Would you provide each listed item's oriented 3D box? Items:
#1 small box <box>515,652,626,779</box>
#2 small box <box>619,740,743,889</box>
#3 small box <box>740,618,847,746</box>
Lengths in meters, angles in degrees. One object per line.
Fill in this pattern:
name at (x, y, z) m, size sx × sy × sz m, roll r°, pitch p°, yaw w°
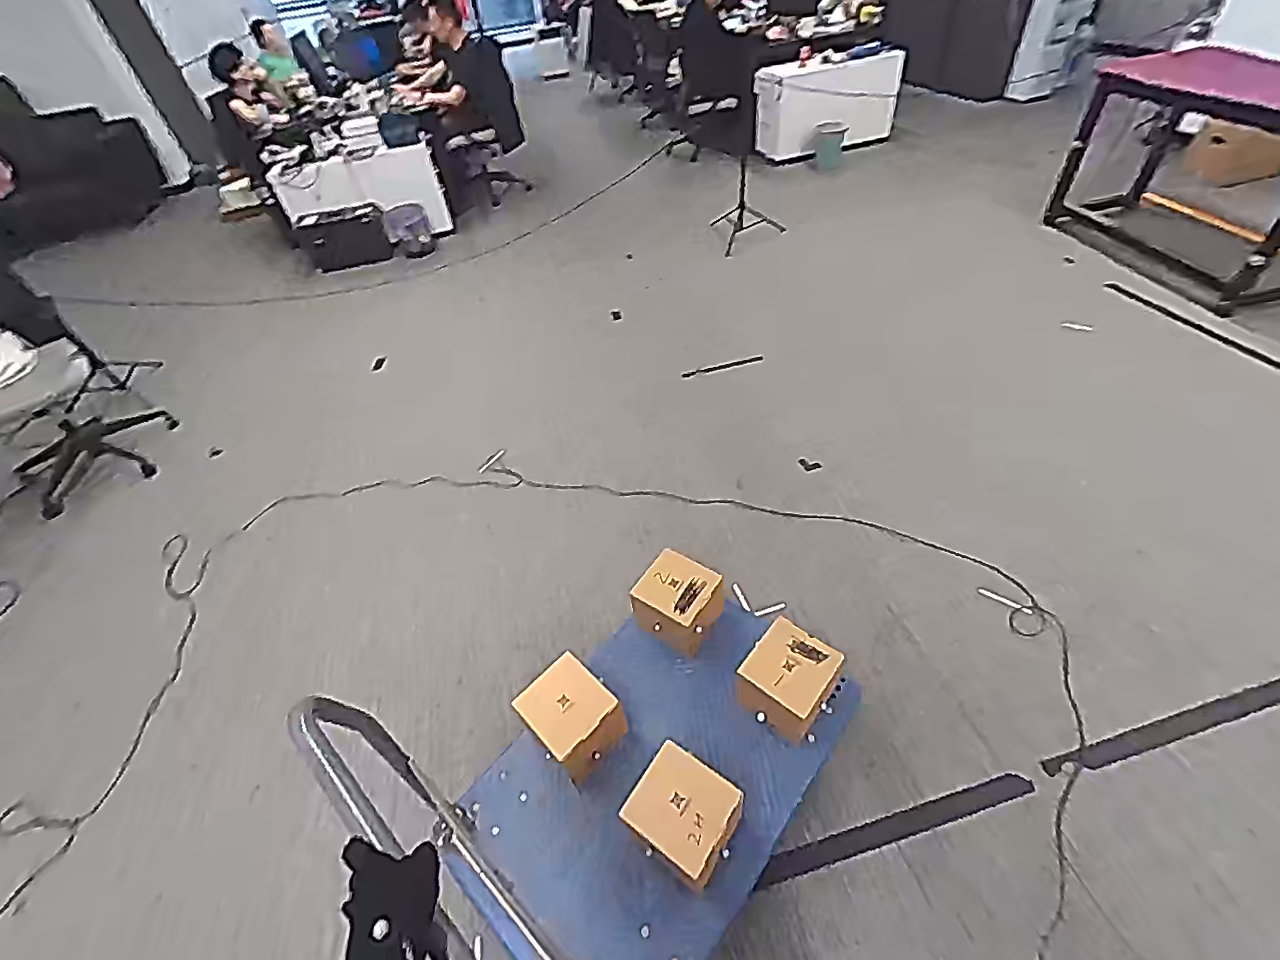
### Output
small box at (-0.151, 0.532, 1.215) m, size 0.179 × 0.176 × 0.168 m, roll 34°, pitch 58°, yaw 32°
small box at (0.083, 0.657, 1.058) m, size 0.179 × 0.176 × 0.168 m, roll 25°, pitch 55°, yaw 29°
small box at (0.337, 0.455, 1.219) m, size 0.168 × 0.176 × 0.179 m, roll 30°, pitch 58°, yaw 32°
